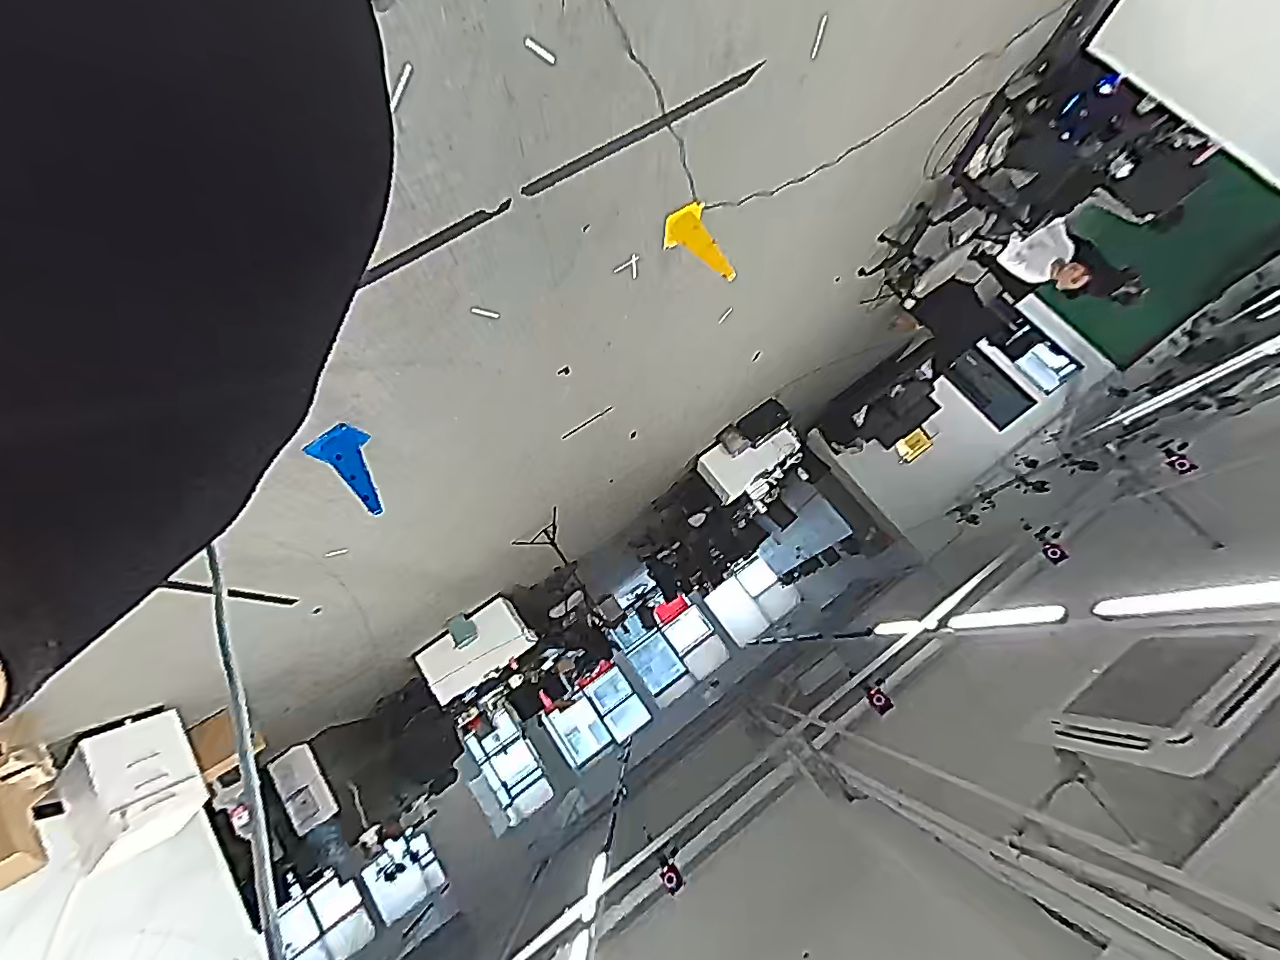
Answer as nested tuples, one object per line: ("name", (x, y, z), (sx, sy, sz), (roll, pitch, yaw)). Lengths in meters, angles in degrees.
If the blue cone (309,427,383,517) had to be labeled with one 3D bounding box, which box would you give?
("blue cone", (-1.118, -0.009, 2.146), (0.193, 0.380, 0.192), (-36, 165, -5))
